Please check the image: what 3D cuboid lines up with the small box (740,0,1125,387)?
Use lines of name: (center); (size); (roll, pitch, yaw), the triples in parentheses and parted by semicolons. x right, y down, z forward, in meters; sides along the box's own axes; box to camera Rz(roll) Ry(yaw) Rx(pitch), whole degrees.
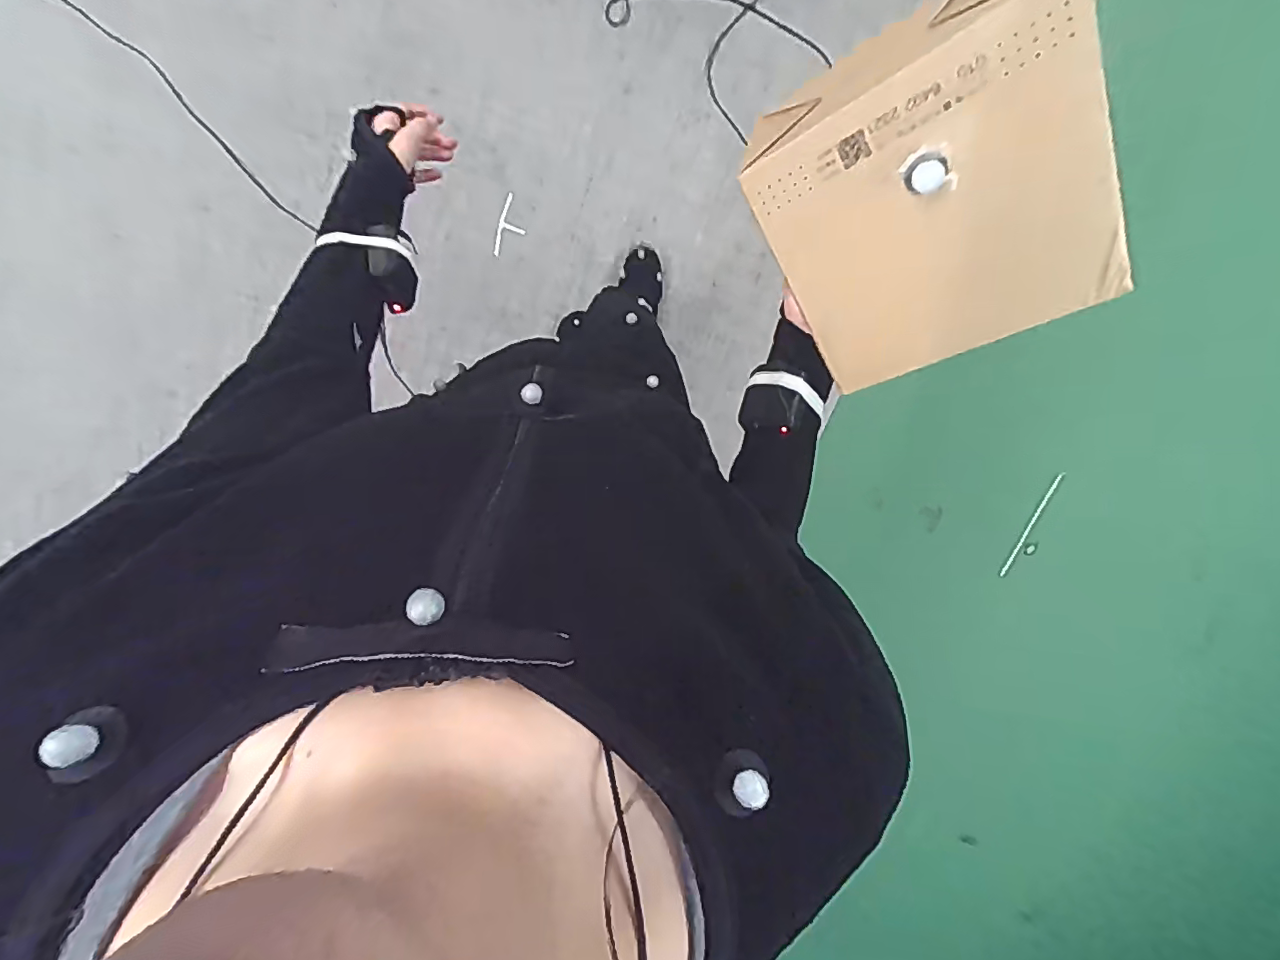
small box: (0.184, -0.201, 0.366); (0.168, 0.179, 0.176); (-20, 122, 32)
